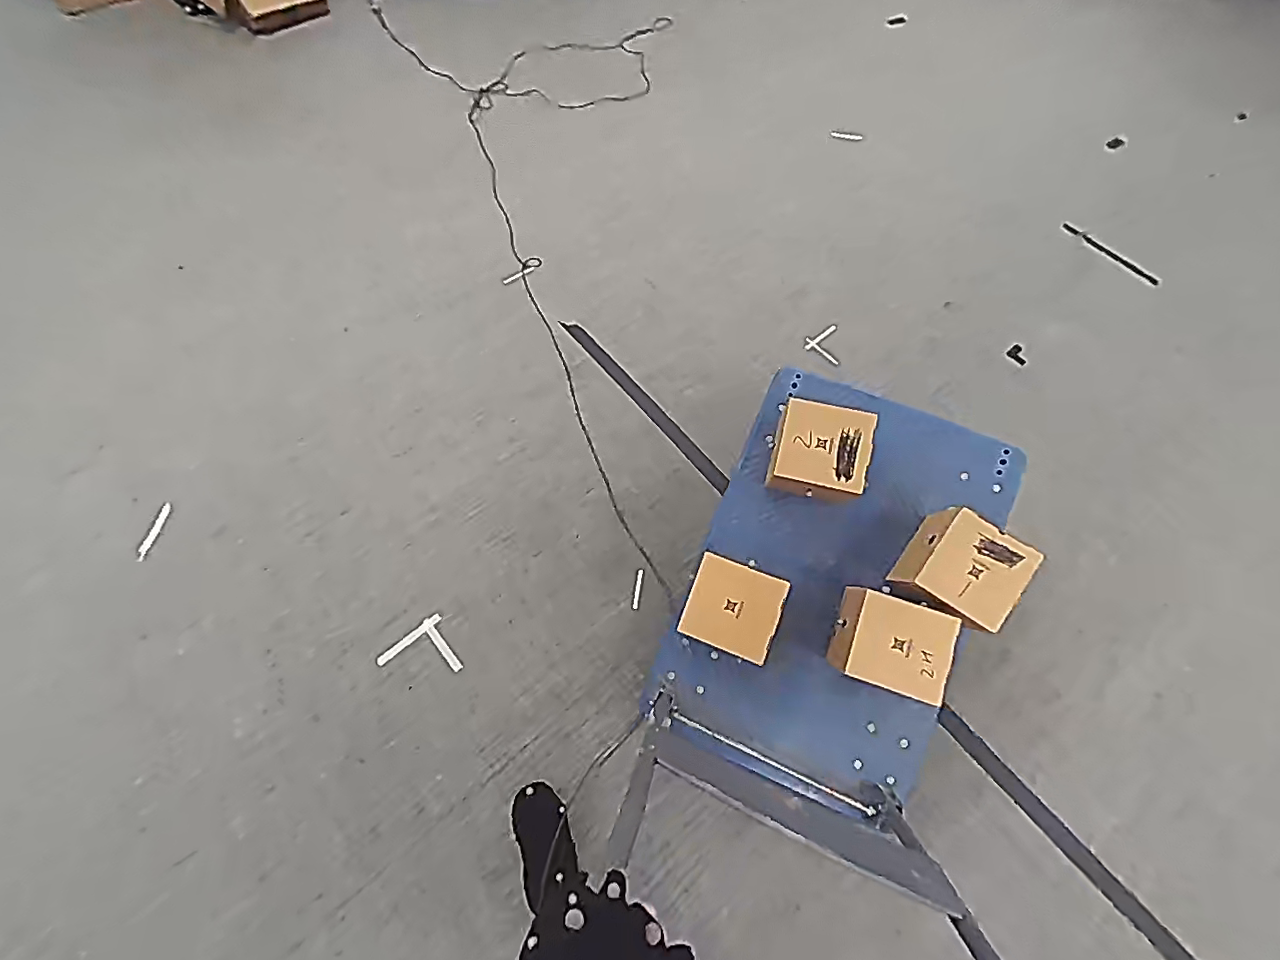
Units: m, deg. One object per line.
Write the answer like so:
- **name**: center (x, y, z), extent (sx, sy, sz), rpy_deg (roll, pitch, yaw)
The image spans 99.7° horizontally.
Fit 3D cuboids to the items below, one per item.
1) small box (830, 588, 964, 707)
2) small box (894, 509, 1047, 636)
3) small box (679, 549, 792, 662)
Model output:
- **small box**: center (0.493, 0.319, 1.066), extent (0.179, 0.176, 0.168), rpy_deg (18, 84, 10)
- **small box**: center (0.638, 0.179, 1.071), extent (0.168, 0.176, 0.179), rpy_deg (35, 87, 12)
- **small box**: center (0.191, 0.254, 1.116), extent (0.179, 0.176, 0.168), rpy_deg (21, 84, 9)
